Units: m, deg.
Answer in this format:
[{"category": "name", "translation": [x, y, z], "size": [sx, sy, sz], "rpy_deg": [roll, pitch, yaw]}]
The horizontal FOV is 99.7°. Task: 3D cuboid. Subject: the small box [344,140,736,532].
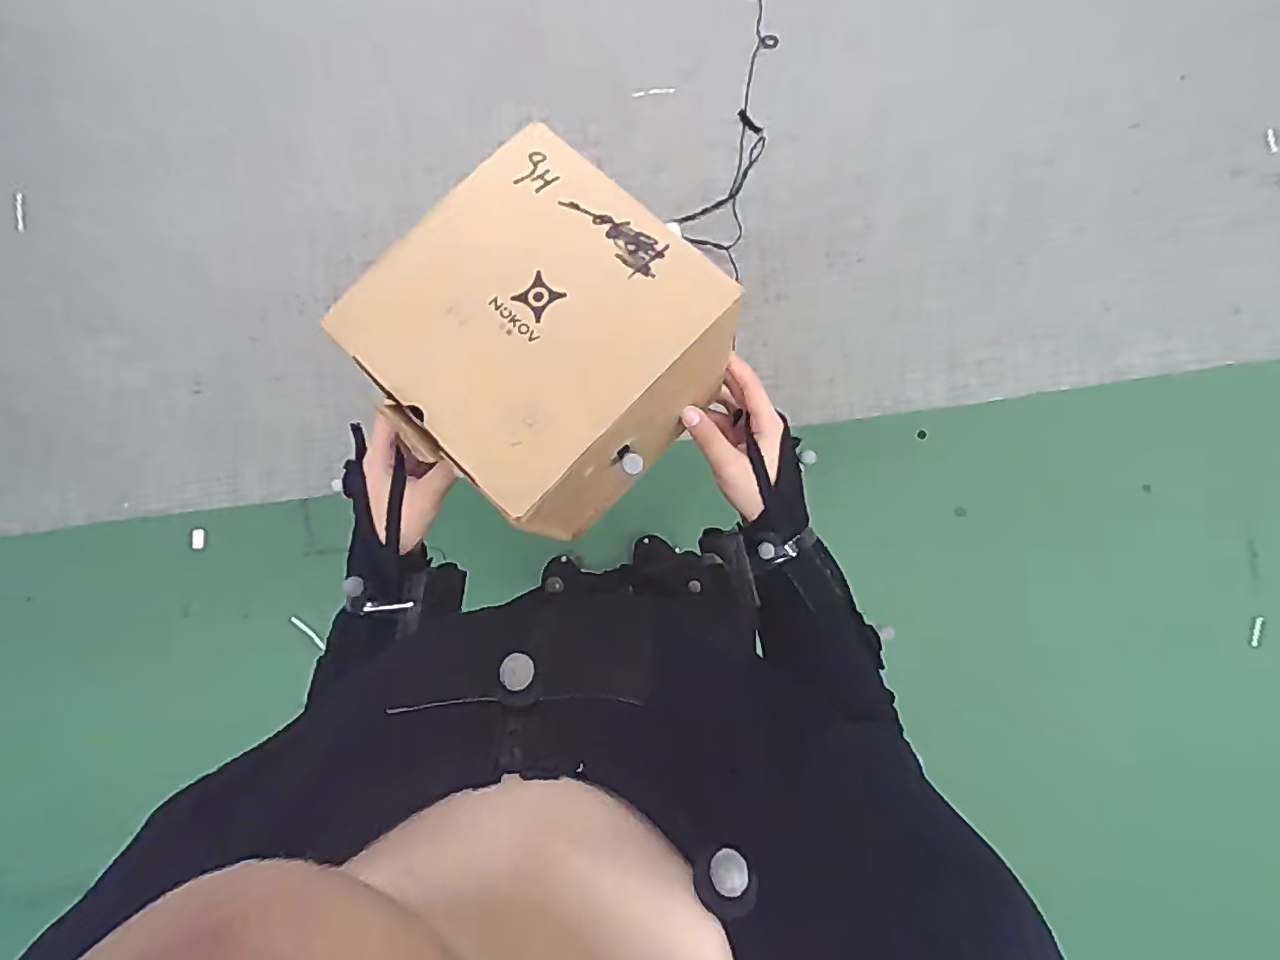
[{"category": "small box", "translation": [-0.053, -0.079, 0.387], "size": [0.168, 0.176, 0.179], "rpy_deg": [42, 85, 10]}]
